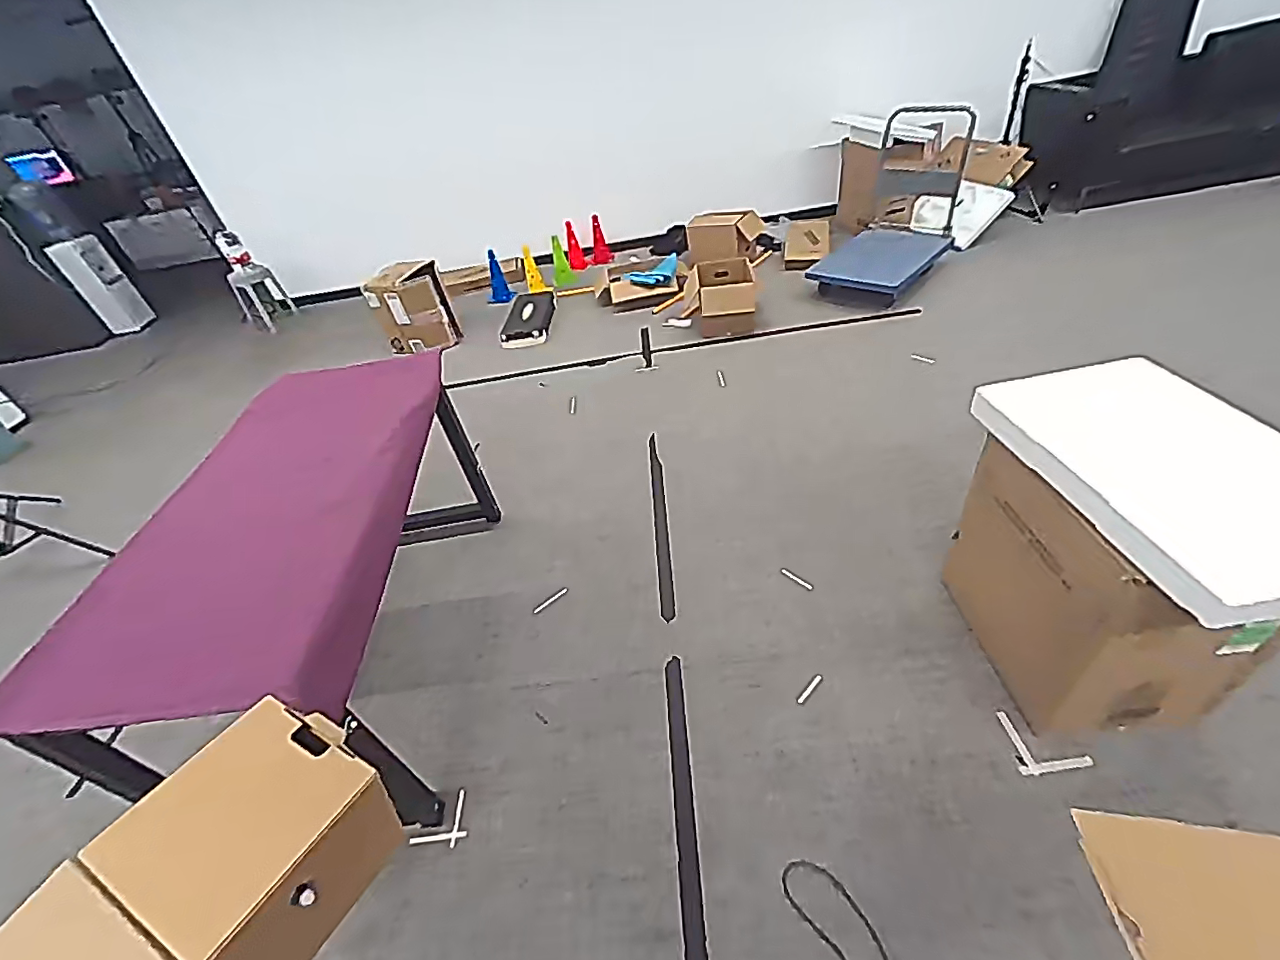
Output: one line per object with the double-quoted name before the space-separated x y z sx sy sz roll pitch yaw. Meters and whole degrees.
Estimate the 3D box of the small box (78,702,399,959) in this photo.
"small box" -0.374 0.372 0.541 0.168 0.176 0.179 21 40 19
